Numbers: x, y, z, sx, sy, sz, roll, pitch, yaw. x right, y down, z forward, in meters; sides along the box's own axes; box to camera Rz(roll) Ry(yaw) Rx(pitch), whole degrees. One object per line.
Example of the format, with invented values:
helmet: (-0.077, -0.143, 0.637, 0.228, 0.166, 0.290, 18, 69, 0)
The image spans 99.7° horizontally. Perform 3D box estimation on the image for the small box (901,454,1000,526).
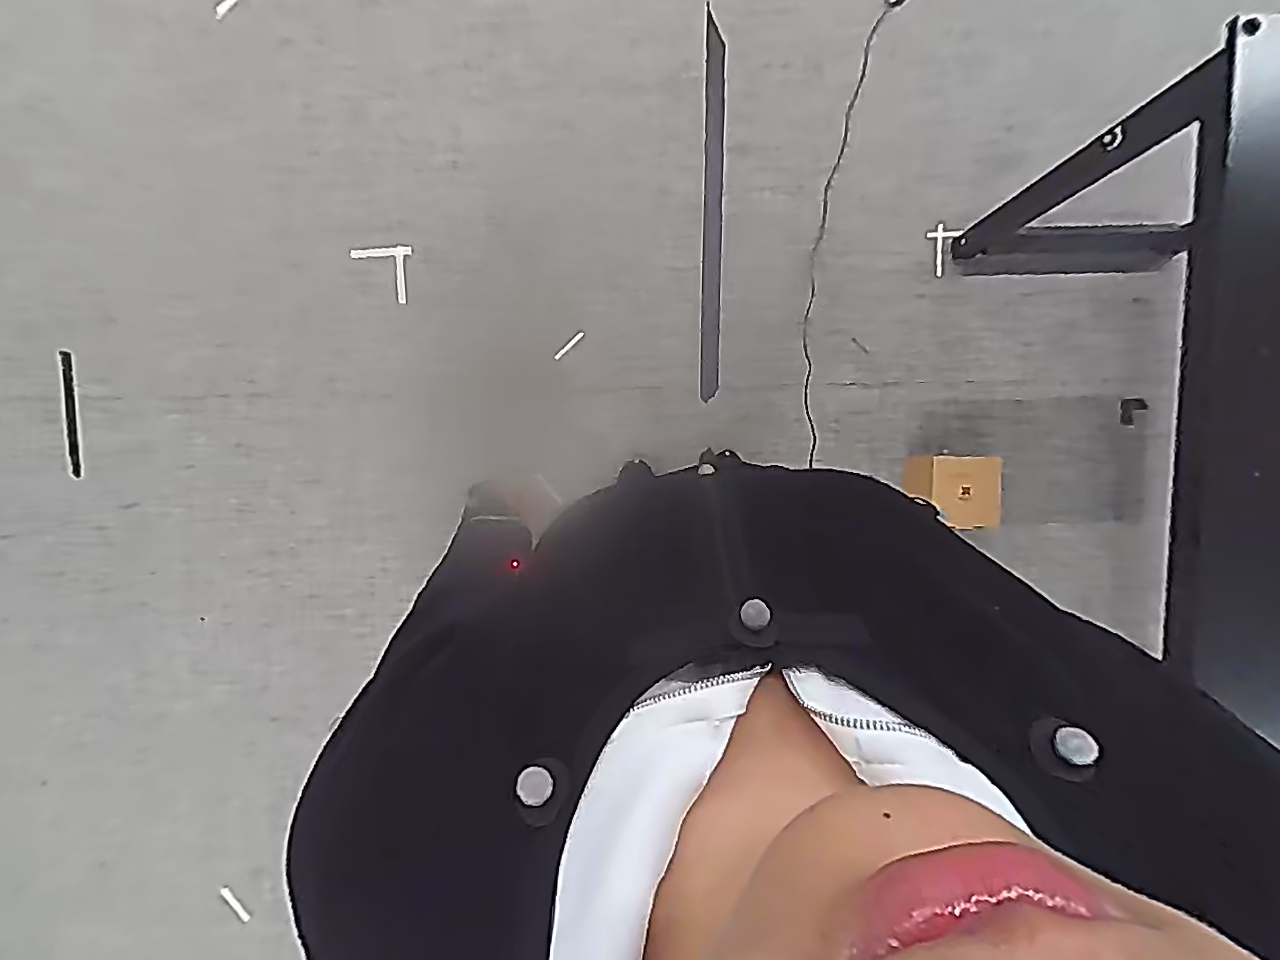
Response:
small box: (0.790, 0.021, 1.390, 0.168, 0.176, 0.179, 0, 92, 2)
